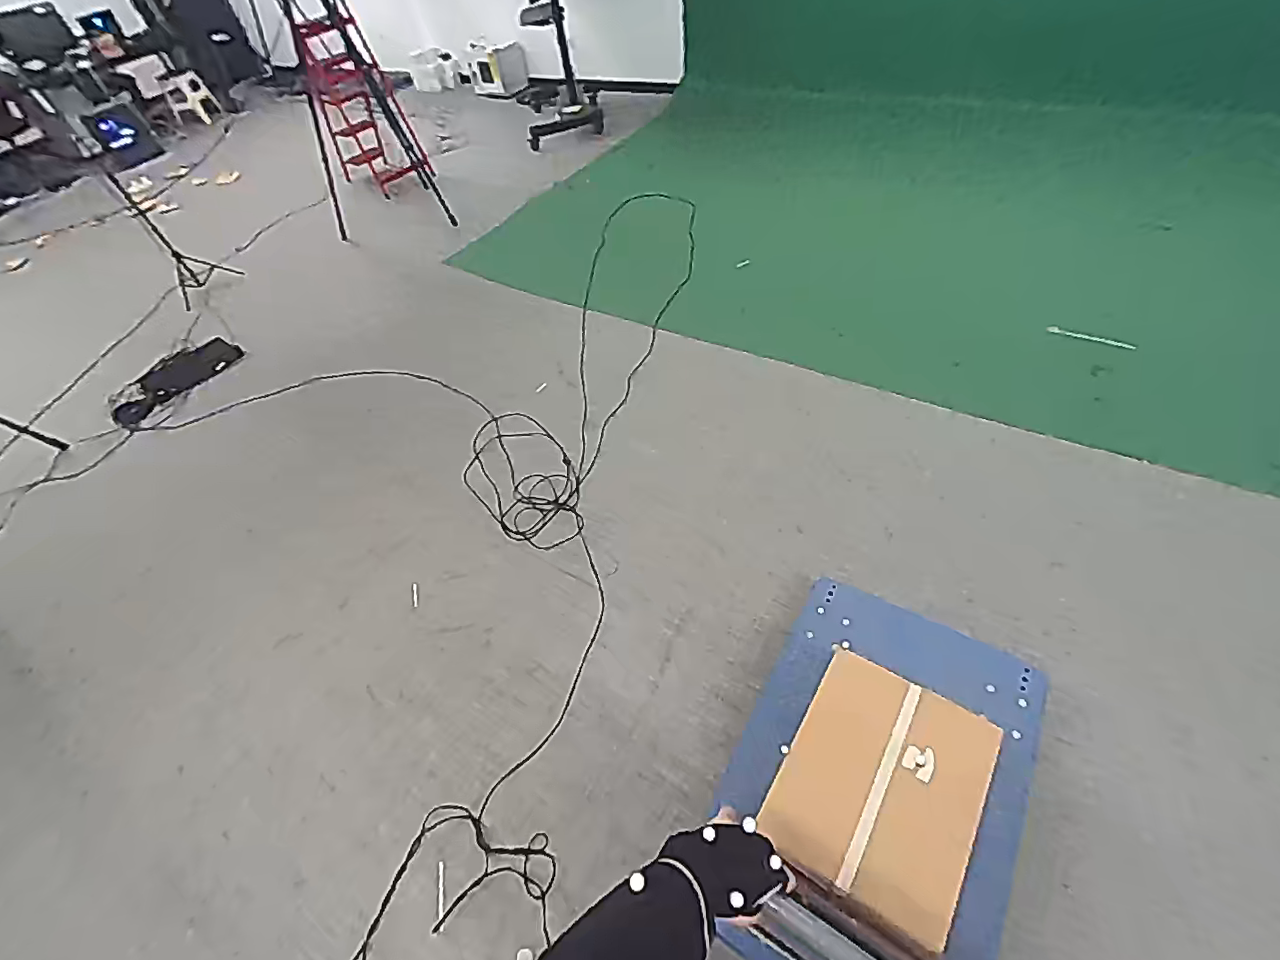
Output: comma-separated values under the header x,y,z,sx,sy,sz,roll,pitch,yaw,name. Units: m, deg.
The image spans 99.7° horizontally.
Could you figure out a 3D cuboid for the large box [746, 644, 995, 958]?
x,y,z,sx,sy,sz,roll,pitch,yaw,name
0.437,0.624,1.077,0.320,0.320,0.408,26,58,25,large box
